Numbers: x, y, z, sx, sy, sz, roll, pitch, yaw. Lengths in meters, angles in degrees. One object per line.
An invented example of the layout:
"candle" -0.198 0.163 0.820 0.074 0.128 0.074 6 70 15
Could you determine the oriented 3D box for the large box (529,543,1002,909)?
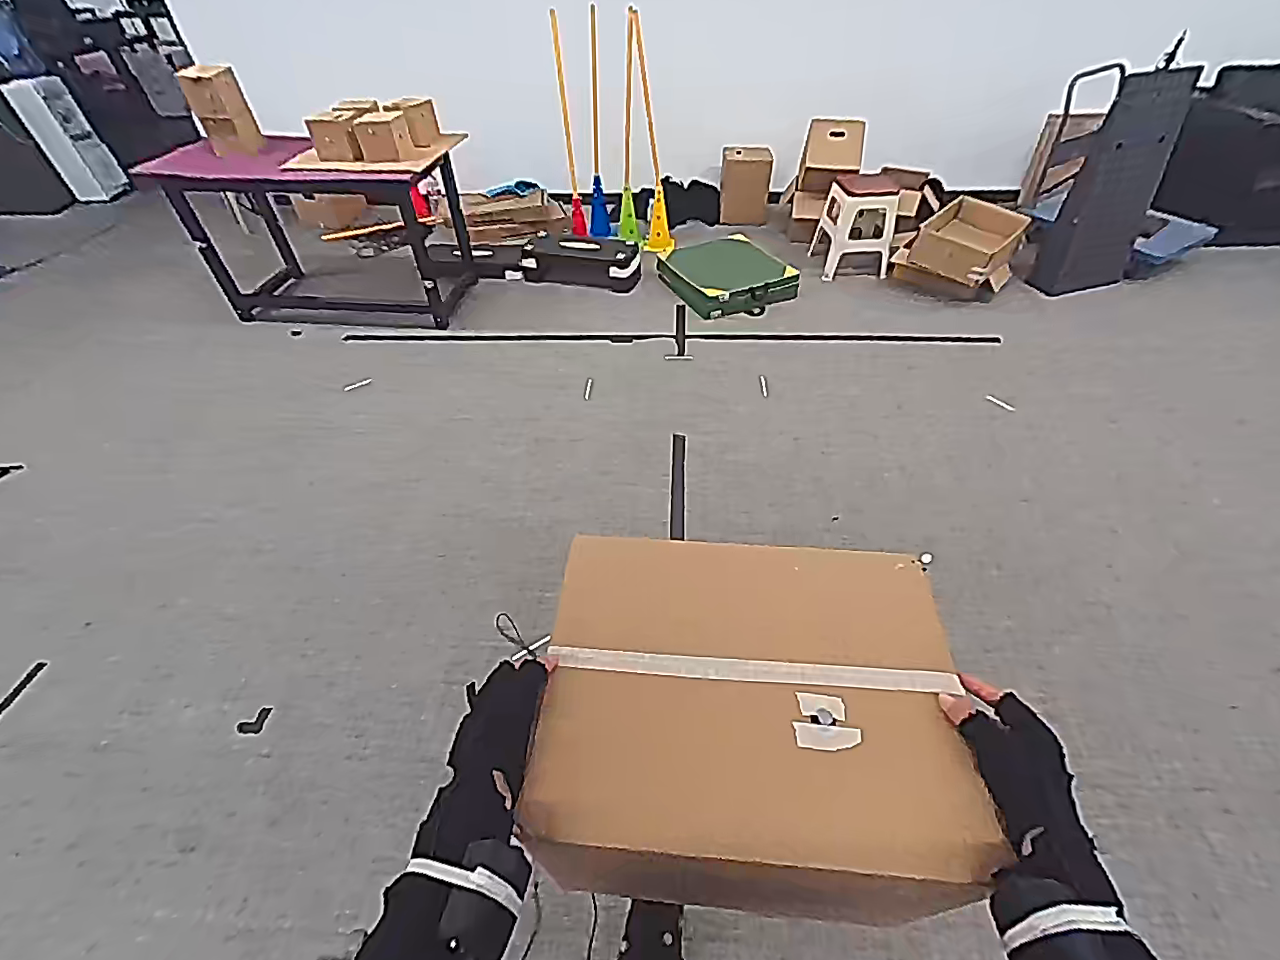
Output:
"large box" 0.112 0.298 0.660 0.408 0.320 0.320 3 48 4
